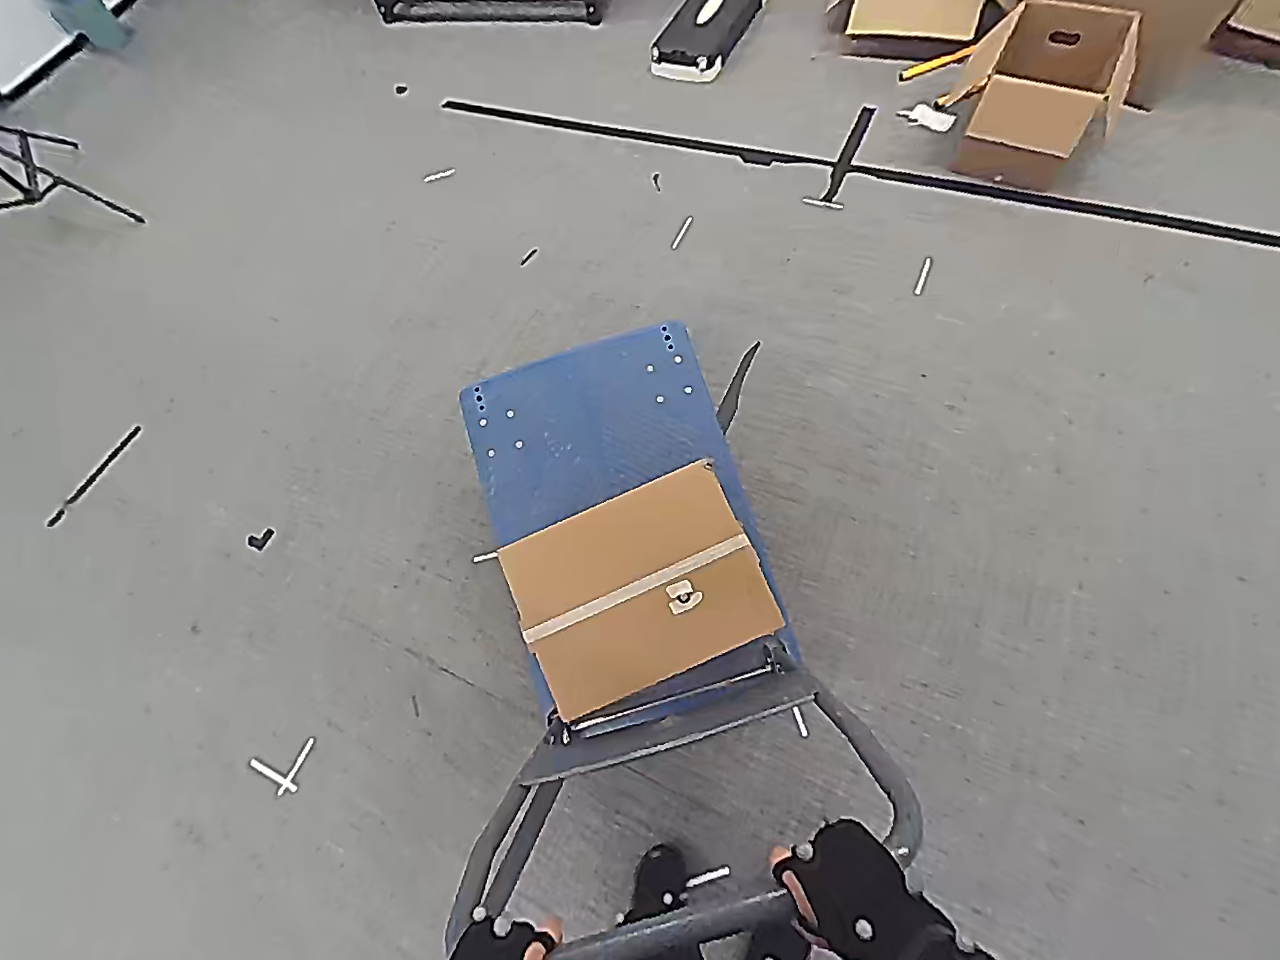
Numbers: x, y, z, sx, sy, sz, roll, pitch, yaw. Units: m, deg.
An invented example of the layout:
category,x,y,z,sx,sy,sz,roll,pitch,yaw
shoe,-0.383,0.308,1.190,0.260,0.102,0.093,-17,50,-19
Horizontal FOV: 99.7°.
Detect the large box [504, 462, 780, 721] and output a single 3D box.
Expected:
category,x,y,z,sx,sy,sz,roll,pitch,yaw
large box,0.005,0.213,1.080,0.408,0.320,0.320,-25,80,-2
